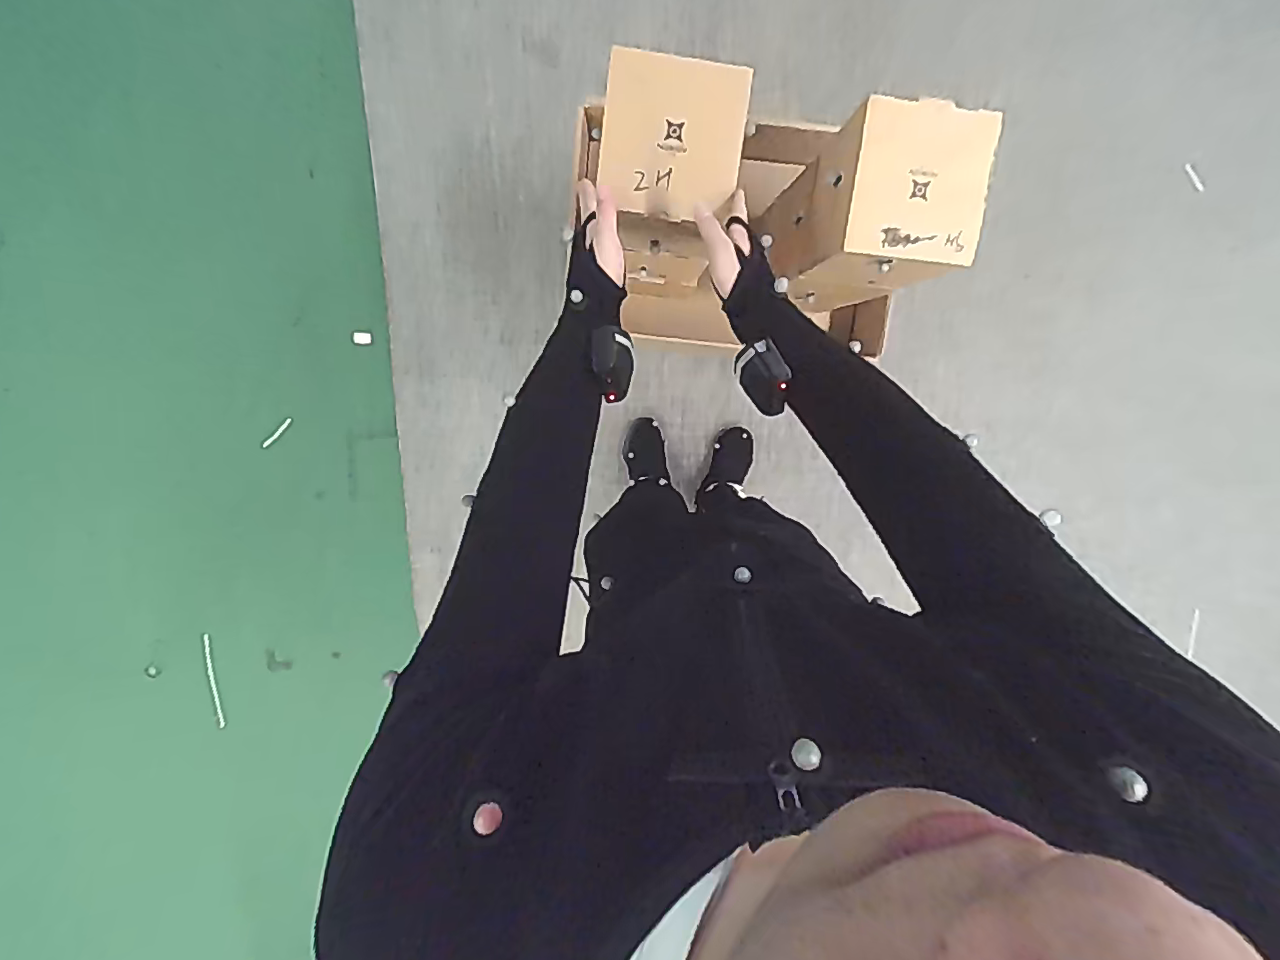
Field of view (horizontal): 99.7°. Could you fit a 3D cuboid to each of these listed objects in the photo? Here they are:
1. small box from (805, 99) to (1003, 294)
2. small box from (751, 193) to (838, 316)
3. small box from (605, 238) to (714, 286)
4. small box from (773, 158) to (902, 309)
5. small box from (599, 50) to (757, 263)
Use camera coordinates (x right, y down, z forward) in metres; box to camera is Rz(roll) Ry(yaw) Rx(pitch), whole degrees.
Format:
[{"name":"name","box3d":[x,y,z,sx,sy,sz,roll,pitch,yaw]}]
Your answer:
[{"name":"small box","box3d":[0.336,-0.363,0.725,0.168,0.176,0.179,7,100,-2]},{"name":"small box","box3d":[0.322,-0.423,1.046,0.168,0.176,0.179,7,99,-4]},{"name":"small box","box3d":[0.035,-0.428,0.870,0.168,0.176,0.179,7,100,-3]},{"name":"small box","box3d":[0.329,-0.391,0.887,0.168,0.176,0.179,7,100,-3]},{"name":"small box","box3d":[0.040,-0.404,0.707,0.168,0.176,0.179,8,99,-3]}]
